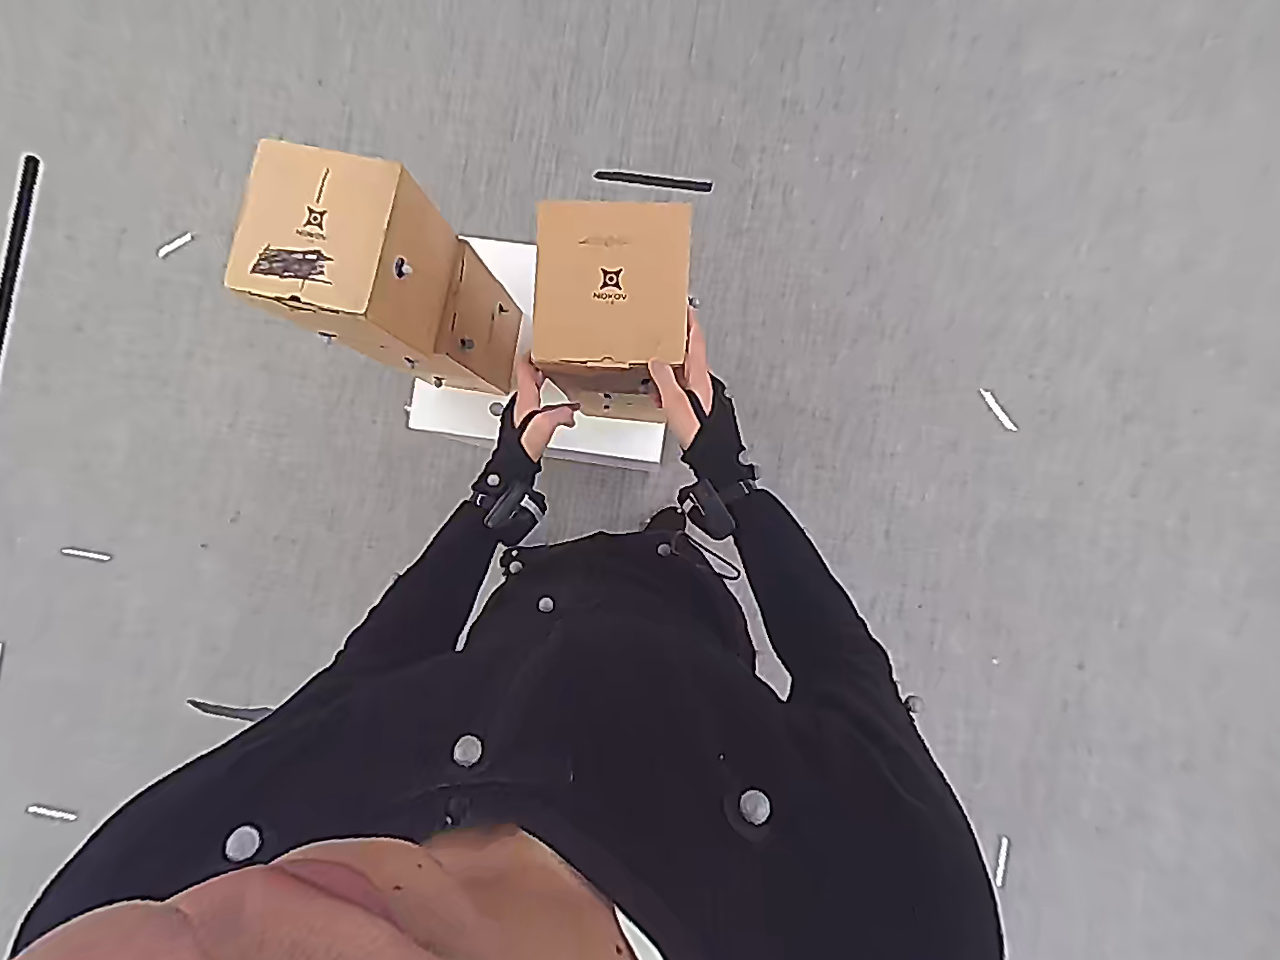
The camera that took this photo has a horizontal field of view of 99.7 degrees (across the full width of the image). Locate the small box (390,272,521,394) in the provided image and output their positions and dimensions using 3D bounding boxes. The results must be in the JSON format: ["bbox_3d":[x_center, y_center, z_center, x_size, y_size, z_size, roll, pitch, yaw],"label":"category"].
[{"bbox_3d":[-0.328,-0.265,0.992,0.168,0.176,0.179,9,88,2],"label":"small box"}]

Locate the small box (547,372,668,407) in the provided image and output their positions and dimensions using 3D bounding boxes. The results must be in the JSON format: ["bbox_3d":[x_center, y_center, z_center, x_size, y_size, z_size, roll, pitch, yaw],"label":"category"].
[{"bbox_3d":[-0.031,-0.212,0.813,0.168,0.176,0.179,7,89,3],"label":"small box"}]

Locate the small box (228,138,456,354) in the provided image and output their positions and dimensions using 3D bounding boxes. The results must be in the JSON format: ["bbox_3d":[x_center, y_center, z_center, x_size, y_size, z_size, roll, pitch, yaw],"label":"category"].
[{"bbox_3d":[-0.347,-0.270,0.663,0.168,0.176,0.179,12,88,2],"label":"small box"}]

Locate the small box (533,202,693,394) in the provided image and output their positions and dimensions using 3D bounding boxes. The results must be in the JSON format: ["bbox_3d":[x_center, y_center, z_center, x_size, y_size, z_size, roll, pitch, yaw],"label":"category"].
[{"bbox_3d":[-0.025,-0.204,0.650,0.168,0.176,0.179,2,88,2],"label":"small box"}]

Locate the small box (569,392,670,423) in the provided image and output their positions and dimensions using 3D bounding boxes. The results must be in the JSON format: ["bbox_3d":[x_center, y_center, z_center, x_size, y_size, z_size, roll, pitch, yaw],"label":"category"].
[{"bbox_3d":[-0.025,-0.208,0.978,0.168,0.176,0.179,6,88,4],"label":"small box"}]
